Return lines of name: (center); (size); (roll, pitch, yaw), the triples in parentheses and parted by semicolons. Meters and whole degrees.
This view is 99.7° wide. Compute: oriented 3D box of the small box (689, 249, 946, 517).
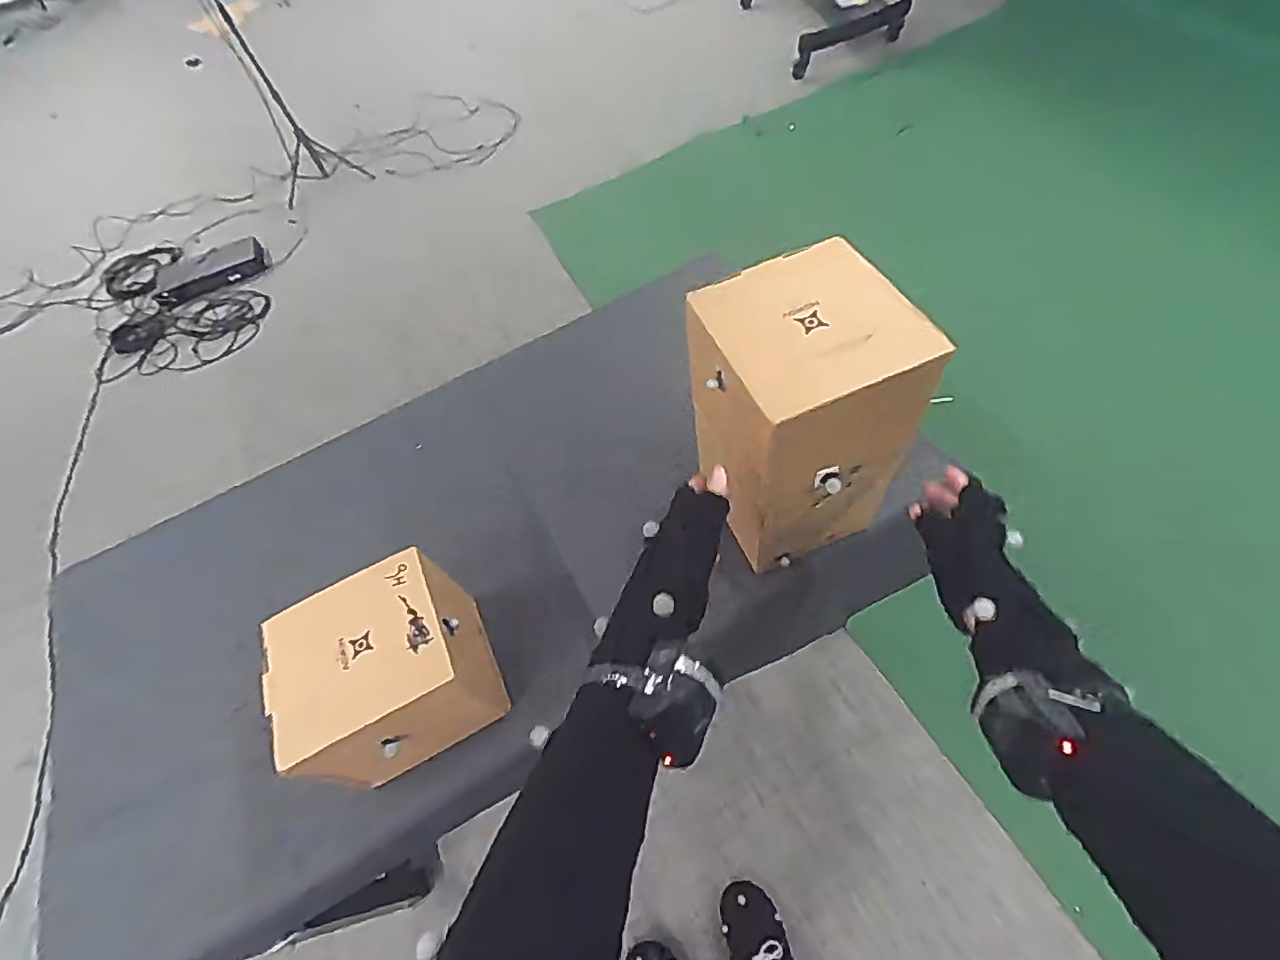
small box: (0.161, -0.093, 0.553); (0.168, 0.176, 0.179); (-23, 58, -4)

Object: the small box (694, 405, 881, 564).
small box: (0.182, -0.012, 0.691); (0.168, 0.176, 0.179); (-22, 56, -5)

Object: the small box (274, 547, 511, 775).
small box: (-0.275, 0.213, 0.621); (0.179, 0.176, 0.168); (-27, 57, -8)
